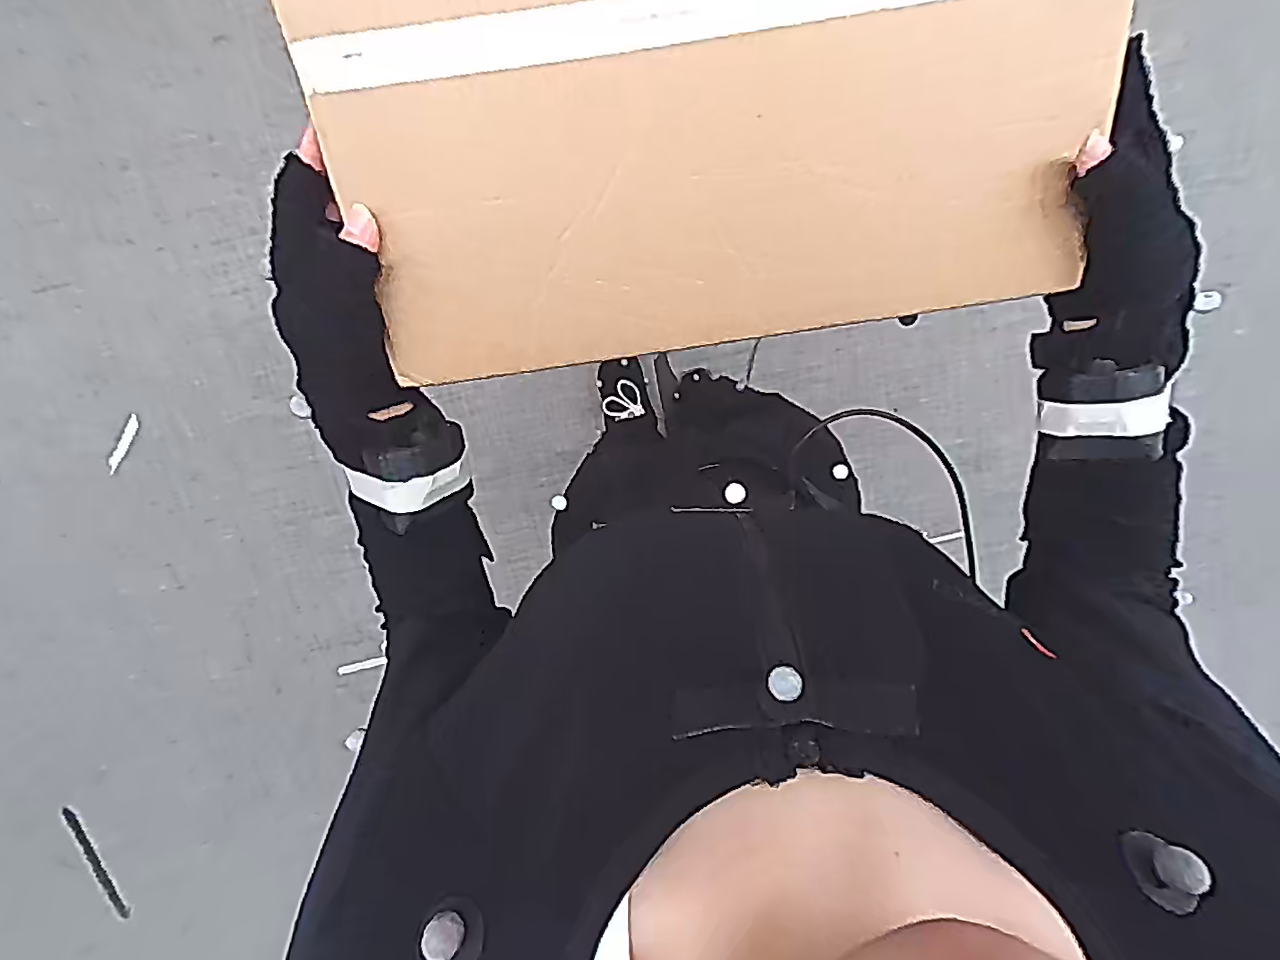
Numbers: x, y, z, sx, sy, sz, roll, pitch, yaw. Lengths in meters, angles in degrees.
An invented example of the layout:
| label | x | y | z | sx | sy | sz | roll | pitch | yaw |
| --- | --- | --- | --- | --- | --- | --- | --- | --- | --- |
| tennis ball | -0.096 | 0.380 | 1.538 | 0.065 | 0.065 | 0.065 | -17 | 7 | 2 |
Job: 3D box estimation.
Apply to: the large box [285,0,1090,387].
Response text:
| label | x | y | z | sx | sy | sz | roll | pitch | yaw |
| --- | --- | --- | --- | --- | --- | --- | --- | --- | --- |
| large box | 0.025 | -0.285 | 0.405 | 0.408 | 0.320 | 0.320 | -9 | 112 | 0 |
